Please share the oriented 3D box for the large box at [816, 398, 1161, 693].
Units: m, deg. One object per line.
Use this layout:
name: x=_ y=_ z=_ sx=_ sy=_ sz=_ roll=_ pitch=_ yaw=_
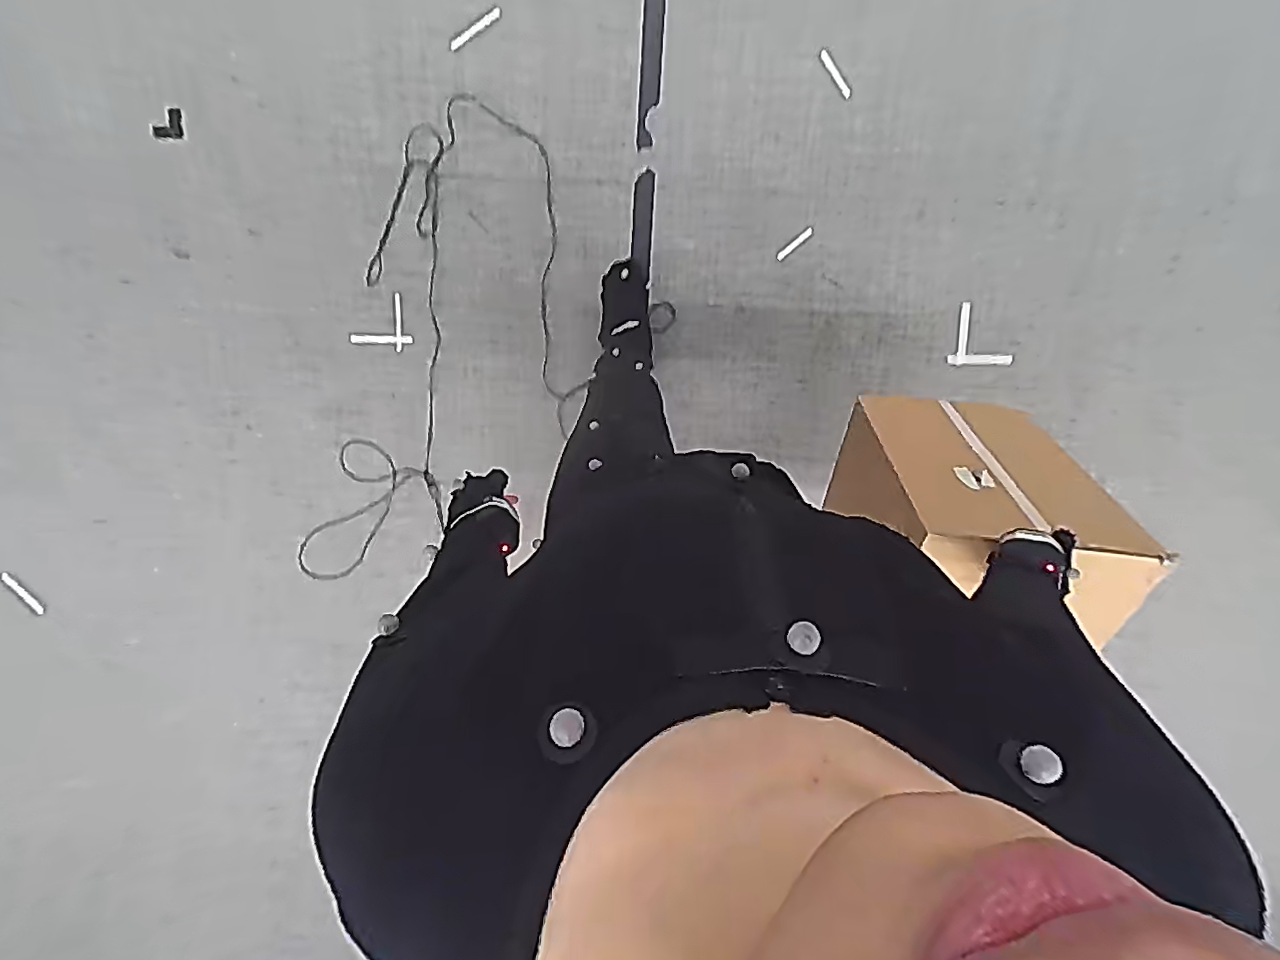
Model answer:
large box: x=0.535 y=0.097 z=0.955 sx=0.320 sy=0.408 sz=0.320 roll=6 pitch=126 yaw=2
